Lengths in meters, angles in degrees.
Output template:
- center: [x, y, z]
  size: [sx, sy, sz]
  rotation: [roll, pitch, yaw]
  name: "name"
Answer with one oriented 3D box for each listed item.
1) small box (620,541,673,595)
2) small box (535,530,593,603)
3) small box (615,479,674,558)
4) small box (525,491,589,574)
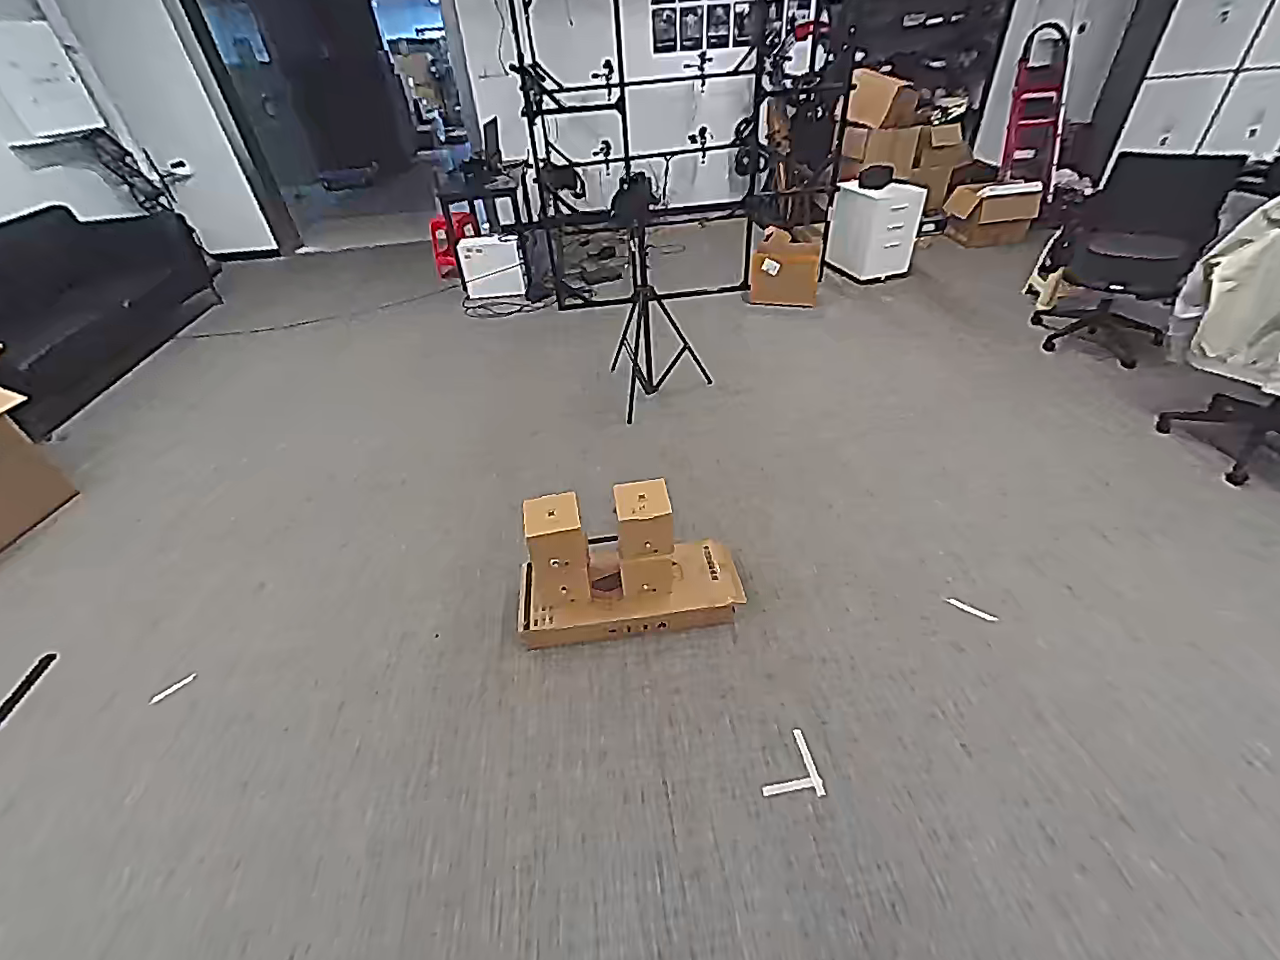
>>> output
- center: [0.020, 0.260, 1.807]
  size: [0.168, 0.176, 0.179]
  rotation: [-6, 39, 1]
  name: "small box"
- center: [-0.247, 0.292, 1.792]
  size: [0.168, 0.176, 0.179]
  rotation: [-6, 39, -2]
  name: "small box"
- center: [0.012, 0.121, 1.715]
  size: [0.168, 0.176, 0.179]
  rotation: [-8, 39, -3]
  name: "small box"
- center: [-0.260, 0.164, 1.690]
  size: [0.168, 0.176, 0.179]
  rotation: [-11, 40, -7]
  name: "small box"
